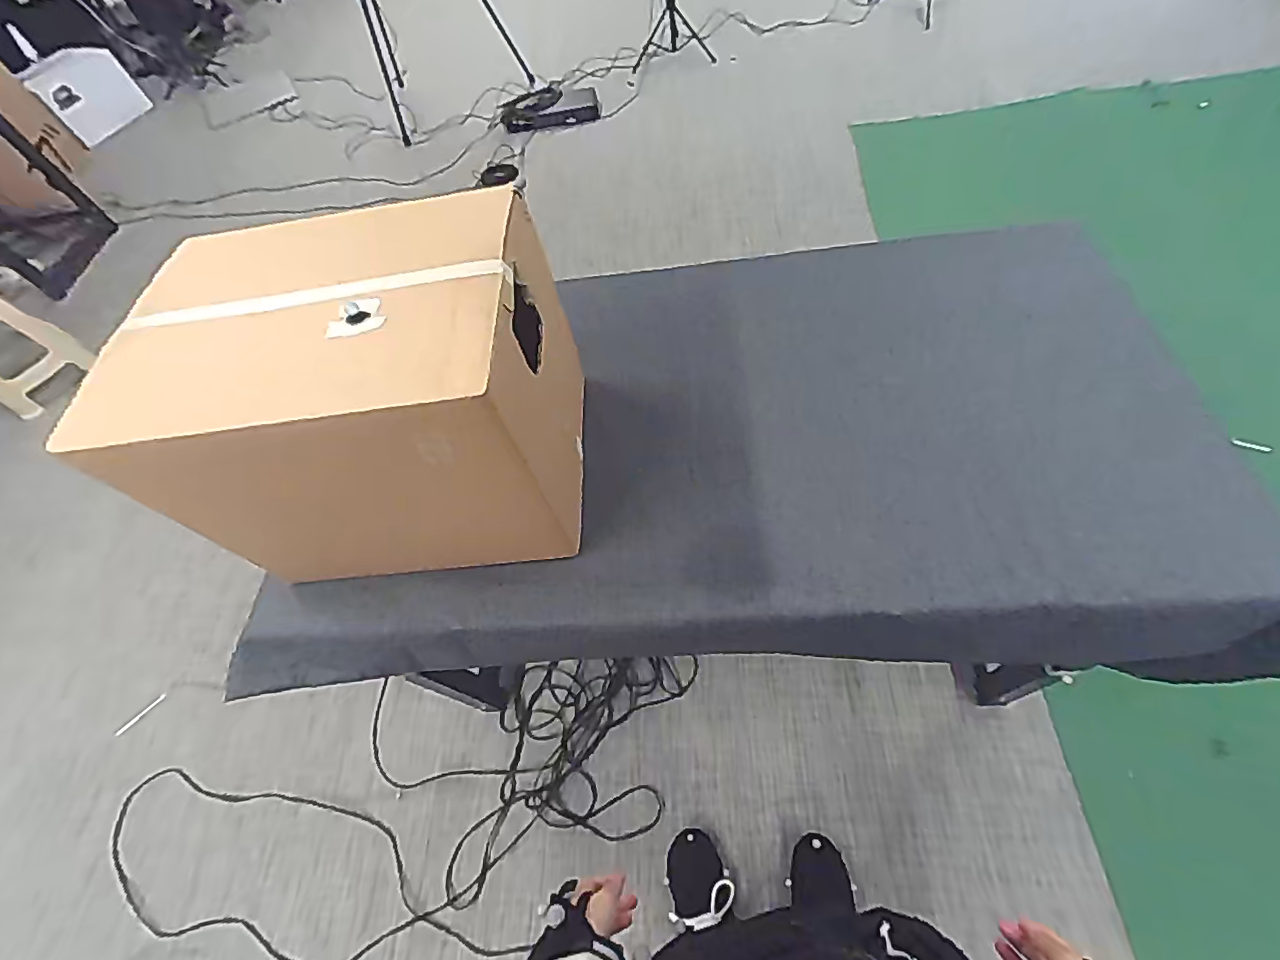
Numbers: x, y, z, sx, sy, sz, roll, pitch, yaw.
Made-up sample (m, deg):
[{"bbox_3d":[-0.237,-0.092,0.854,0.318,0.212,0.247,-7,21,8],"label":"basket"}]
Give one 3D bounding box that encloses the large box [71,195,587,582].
[{"bbox_3d":[-0.293,-0.091,0.662,0.408,0.320,0.320,-6,57,5],"label":"large box"}]
